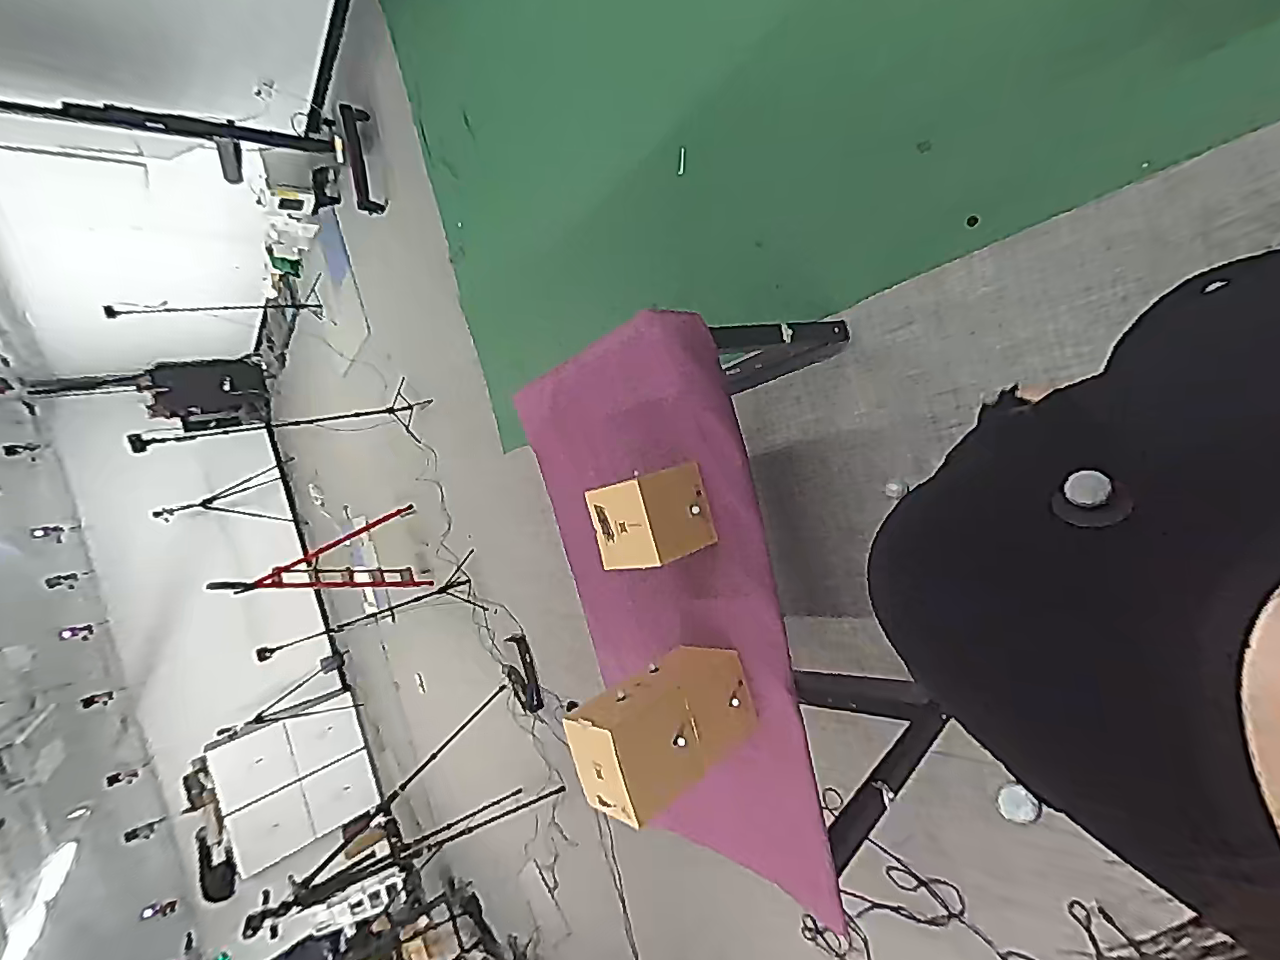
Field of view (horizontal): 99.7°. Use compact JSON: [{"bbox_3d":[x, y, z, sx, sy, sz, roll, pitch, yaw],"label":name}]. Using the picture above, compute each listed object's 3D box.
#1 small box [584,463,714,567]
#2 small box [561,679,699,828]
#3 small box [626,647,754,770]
[{"bbox_3d":[0.019,0.071,1.086,0.179,0.176,0.168,-14,92,49],"label":"small box"},{"bbox_3d":[-0.017,0.492,1.007,0.168,0.176,0.179,-17,88,51],"label":"small box"},{"bbox_3d":[0.103,0.456,1.112,0.179,0.176,0.168,-16,90,51],"label":"small box"}]
